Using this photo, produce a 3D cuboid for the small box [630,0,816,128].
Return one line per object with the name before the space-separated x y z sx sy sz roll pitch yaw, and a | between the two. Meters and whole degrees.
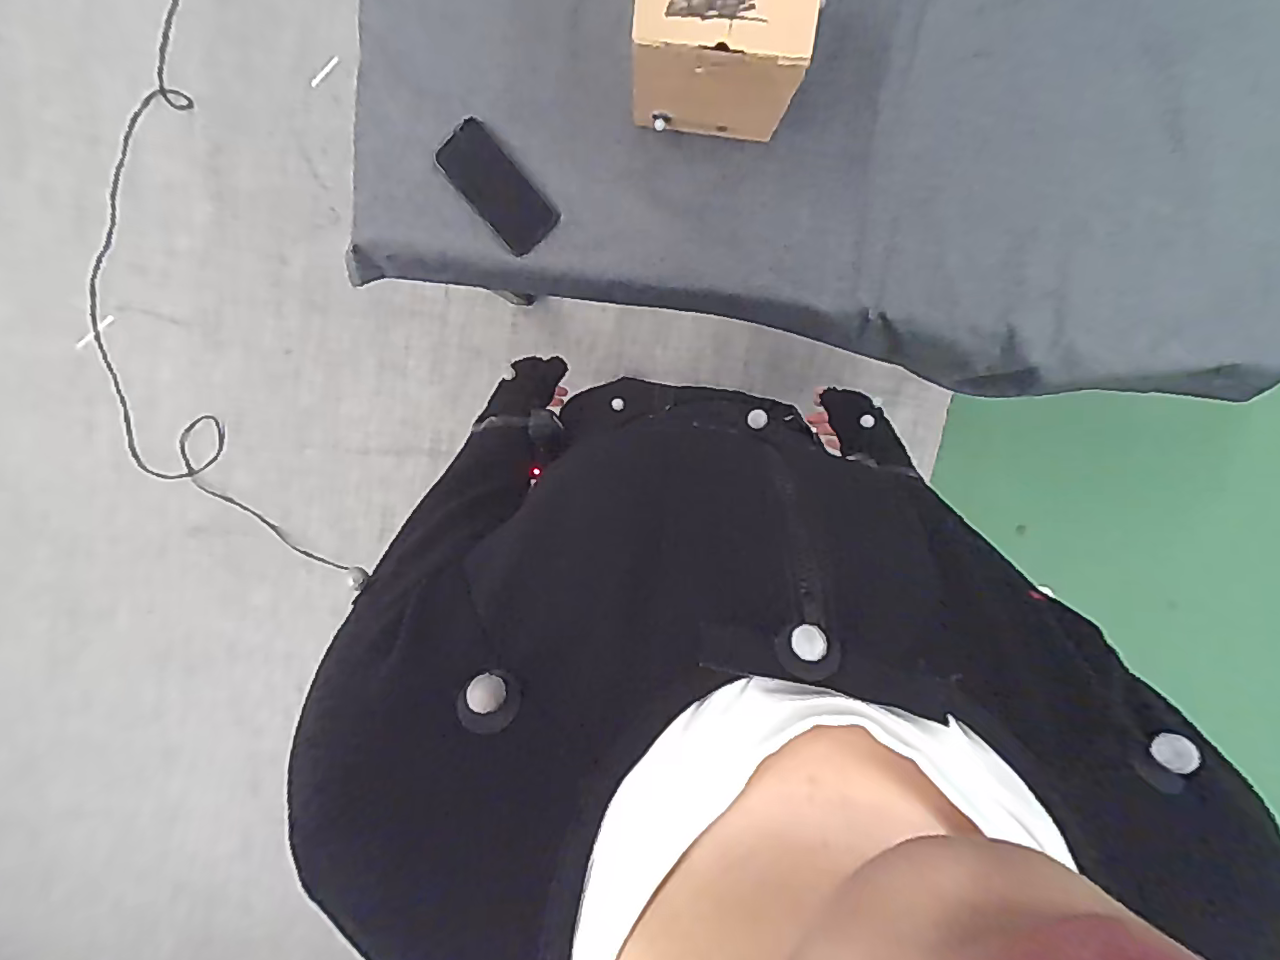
small box | 0.082 -0.493 0.550 0.168 0.176 0.179 6 100 -2
